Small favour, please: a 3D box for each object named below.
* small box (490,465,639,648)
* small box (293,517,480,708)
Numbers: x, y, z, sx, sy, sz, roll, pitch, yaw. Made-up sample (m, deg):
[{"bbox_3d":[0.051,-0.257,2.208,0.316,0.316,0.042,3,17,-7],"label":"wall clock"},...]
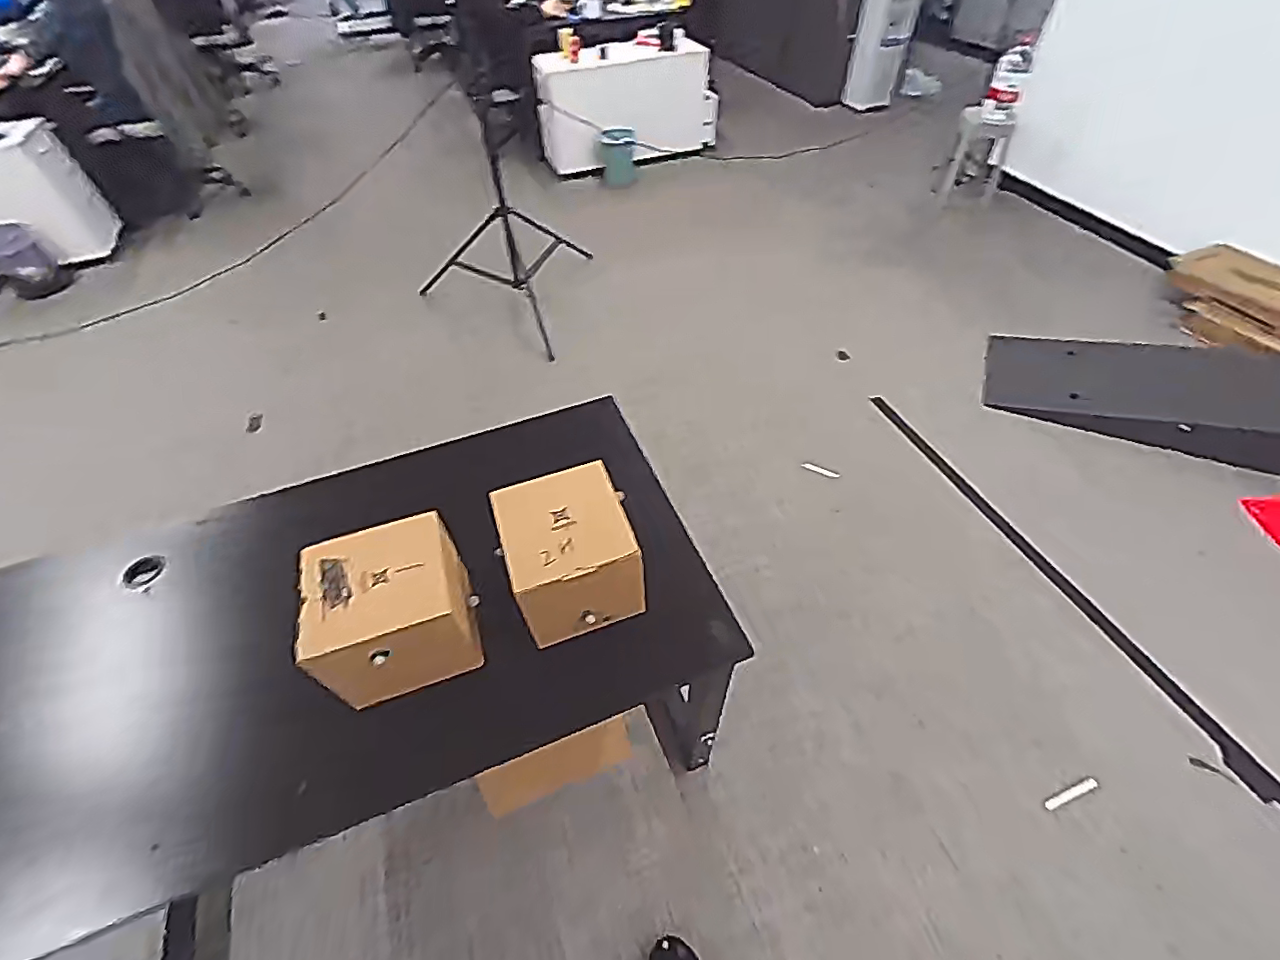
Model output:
[{"bbox_3d":[-0.107,0.112,0.788,0.168,0.176,0.179,-17,51,-11],"label":"small box"},{"bbox_3d":[-0.336,0.184,0.737,0.179,0.176,0.168,-16,51,-12],"label":"small box"}]
